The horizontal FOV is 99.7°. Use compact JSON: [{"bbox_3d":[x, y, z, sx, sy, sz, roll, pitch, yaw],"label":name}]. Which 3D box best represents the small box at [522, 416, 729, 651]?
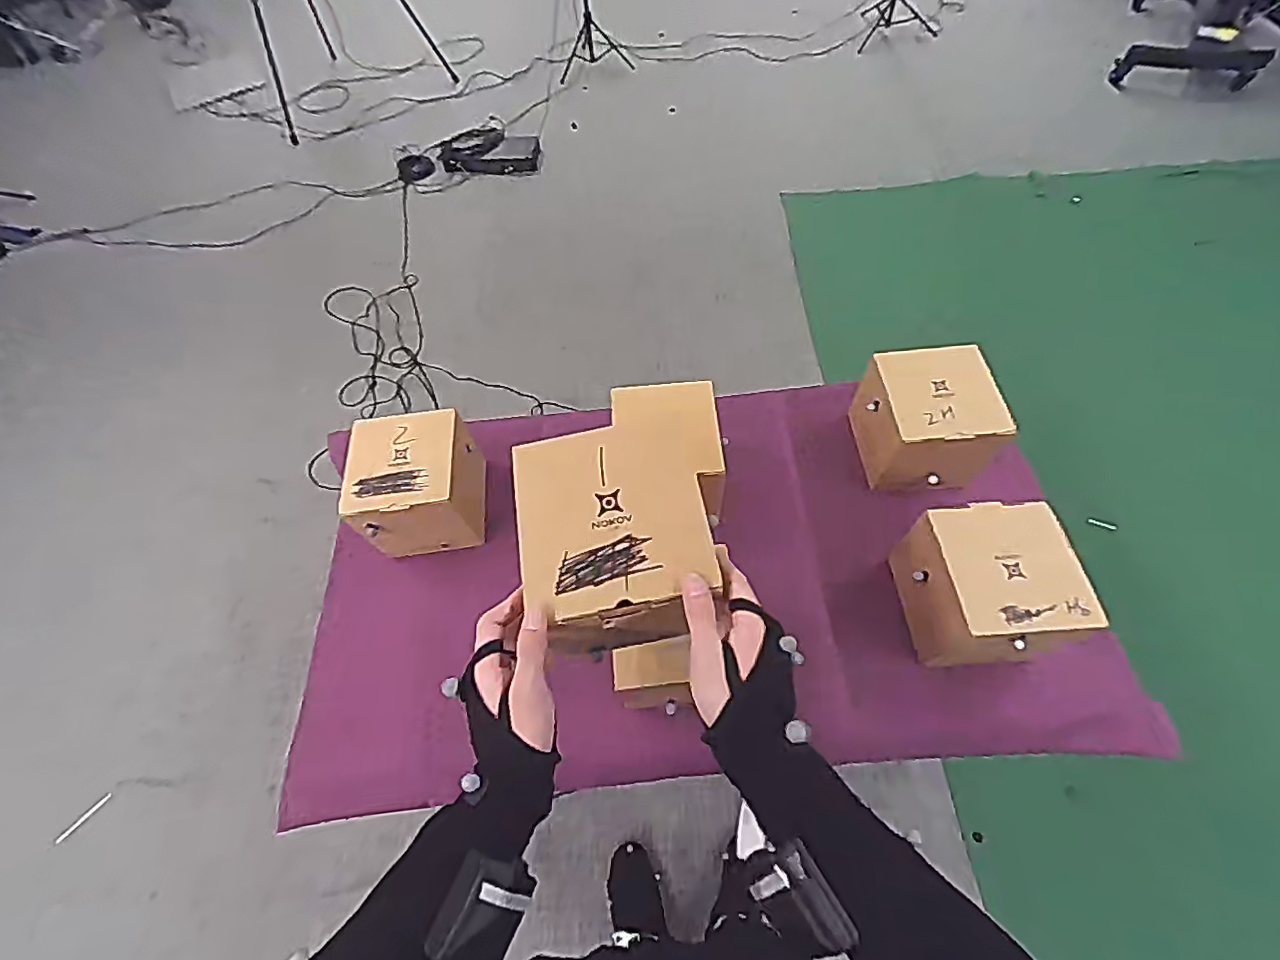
[{"bbox_3d":[-0.010,0.065,0.537,0.168,0.176,0.179,-11,63,2],"label":"small box"}]

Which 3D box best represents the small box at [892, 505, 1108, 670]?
[{"bbox_3d":[0.480,0.154,0.759,0.168,0.176,0.179,-4,58,2],"label":"small box"}]

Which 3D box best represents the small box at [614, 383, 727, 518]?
[{"bbox_3d":[0.044,-0.038,0.898,0.168,0.176,0.179,-4,61,1],"label":"small box"}]

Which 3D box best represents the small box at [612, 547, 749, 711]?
[{"bbox_3d":[0.048,0.211,0.754,0.168,0.176,0.179,-6,59,1],"label":"small box"}]

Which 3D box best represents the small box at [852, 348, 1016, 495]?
[{"bbox_3d":[0.469,-0.094,0.898,0.168,0.176,0.179,-4,60,4],"label":"small box"}]
